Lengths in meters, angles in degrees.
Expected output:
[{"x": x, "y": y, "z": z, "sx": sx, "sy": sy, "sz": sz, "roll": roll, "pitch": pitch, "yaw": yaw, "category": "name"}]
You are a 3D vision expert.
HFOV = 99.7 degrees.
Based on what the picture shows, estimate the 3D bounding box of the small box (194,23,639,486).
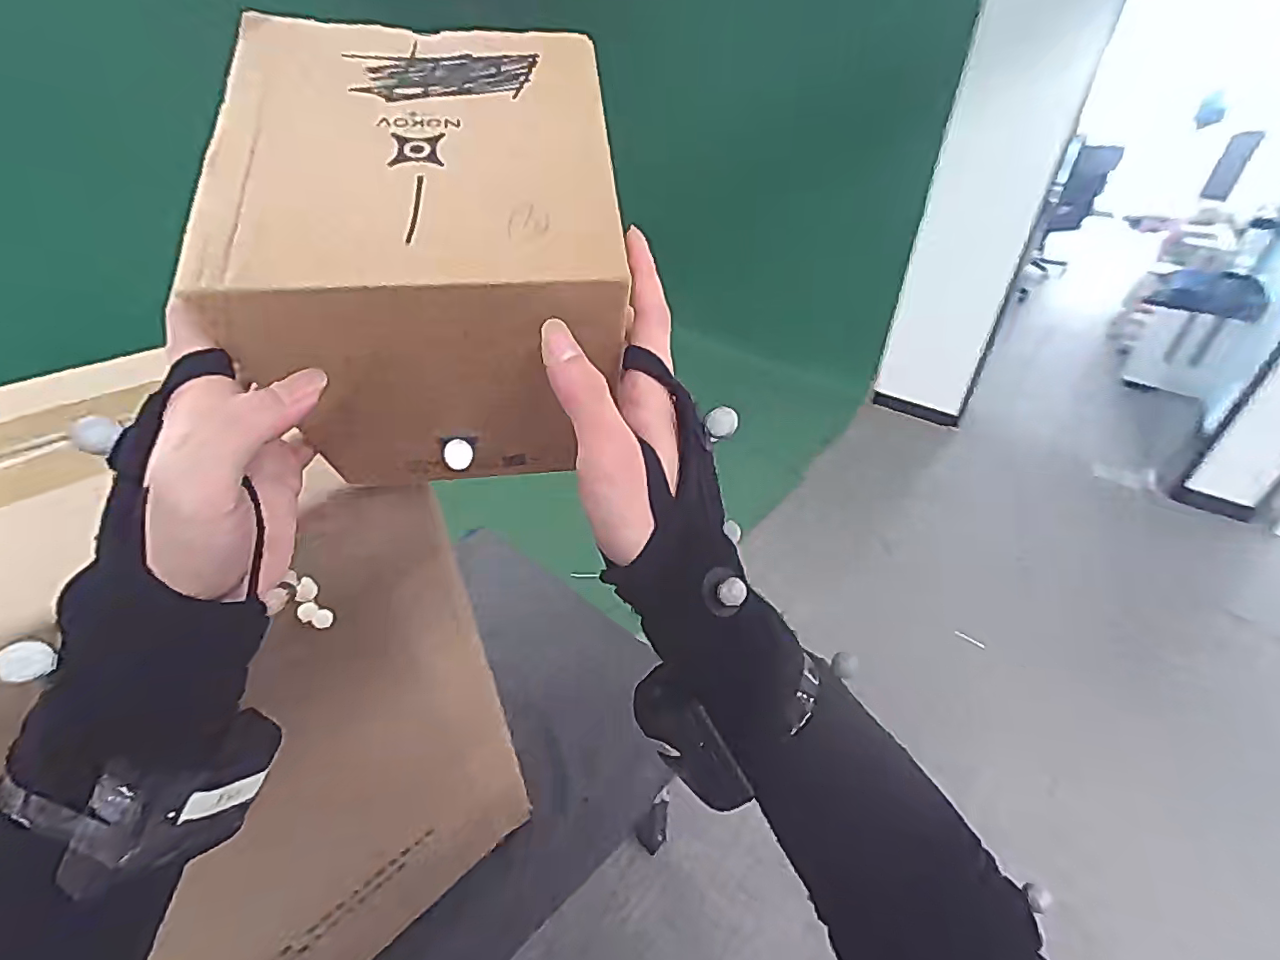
[{"x": -0.098, "y": -0.111, "z": 0.311, "sx": 0.168, "sy": 0.176, "sz": 0.179, "roll": -3, "pitch": 67, "yaw": -8, "category": "small box"}]
